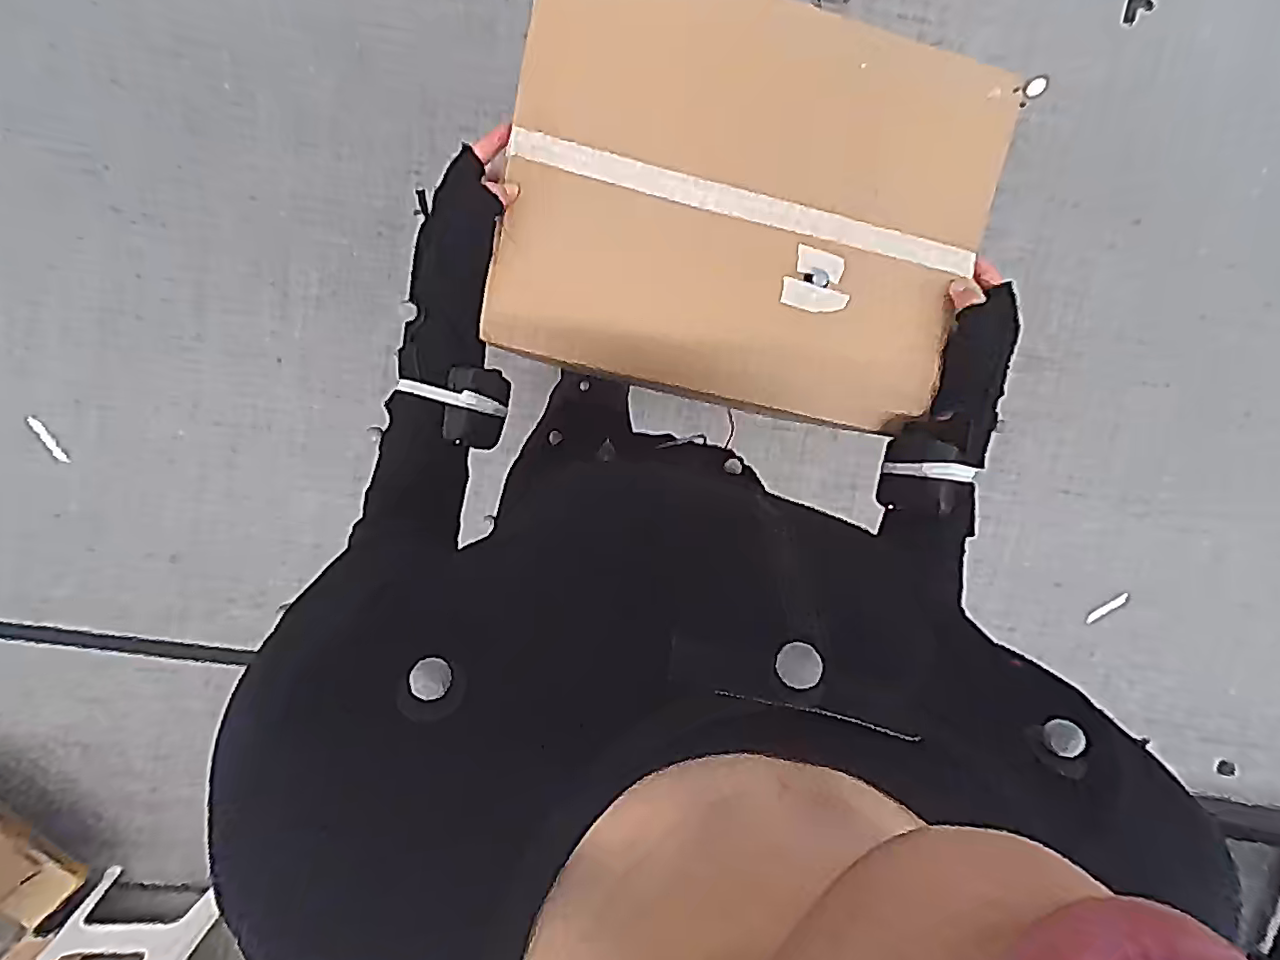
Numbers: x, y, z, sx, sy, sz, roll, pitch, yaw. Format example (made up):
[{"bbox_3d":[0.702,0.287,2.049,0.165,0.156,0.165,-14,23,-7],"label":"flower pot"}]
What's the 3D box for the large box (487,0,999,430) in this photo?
[{"bbox_3d":[0.073,-0.255,0.610,0.408,0.320,0.320,12,99,-8],"label":"large box"}]
